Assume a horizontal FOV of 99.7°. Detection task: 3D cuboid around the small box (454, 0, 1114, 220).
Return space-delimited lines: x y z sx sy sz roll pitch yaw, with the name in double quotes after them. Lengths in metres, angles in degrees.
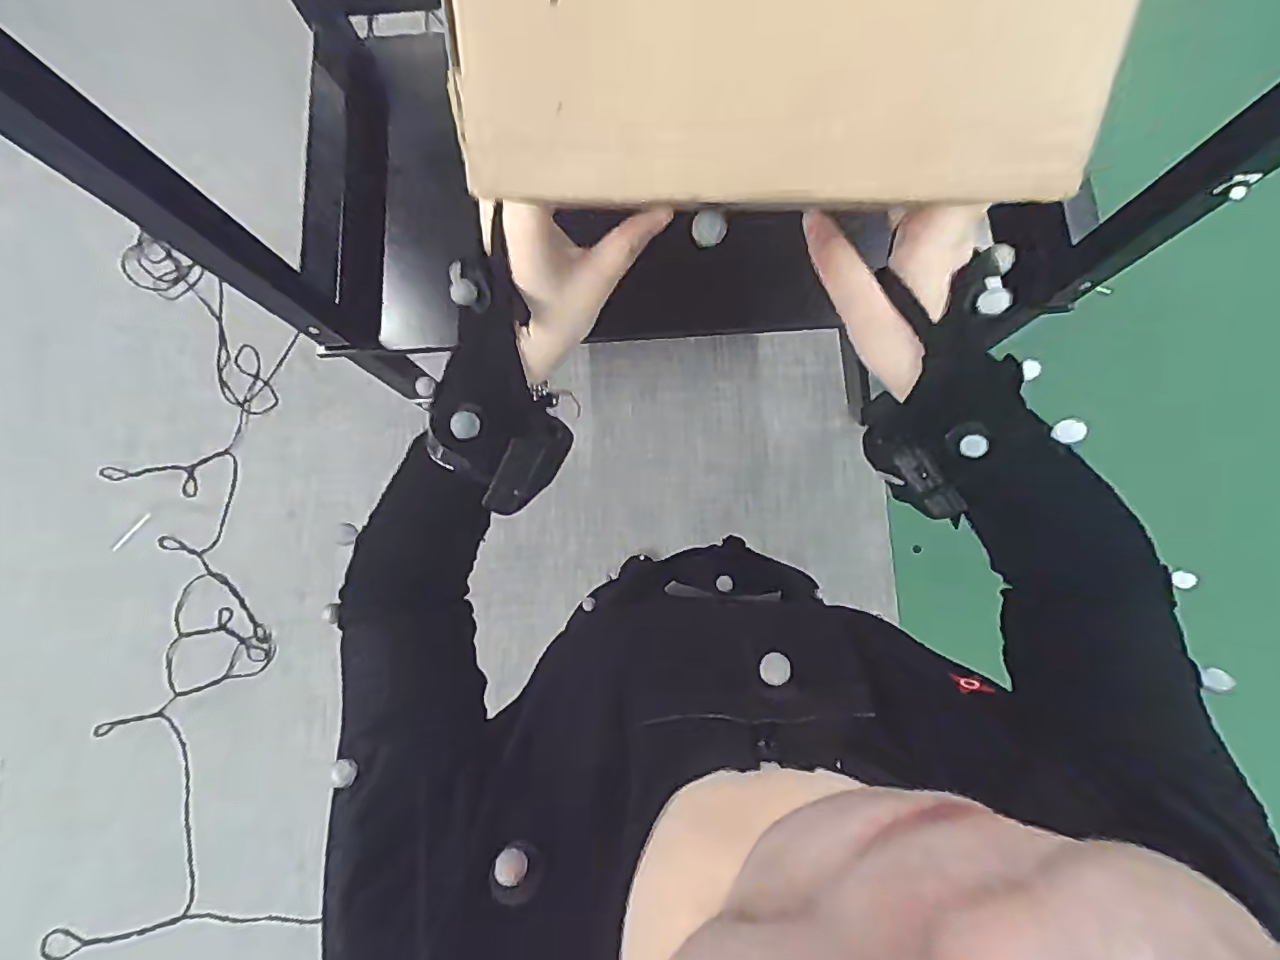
0.041 -0.191 0.201 0.179 0.176 0.168 2 116 2 "small box"
